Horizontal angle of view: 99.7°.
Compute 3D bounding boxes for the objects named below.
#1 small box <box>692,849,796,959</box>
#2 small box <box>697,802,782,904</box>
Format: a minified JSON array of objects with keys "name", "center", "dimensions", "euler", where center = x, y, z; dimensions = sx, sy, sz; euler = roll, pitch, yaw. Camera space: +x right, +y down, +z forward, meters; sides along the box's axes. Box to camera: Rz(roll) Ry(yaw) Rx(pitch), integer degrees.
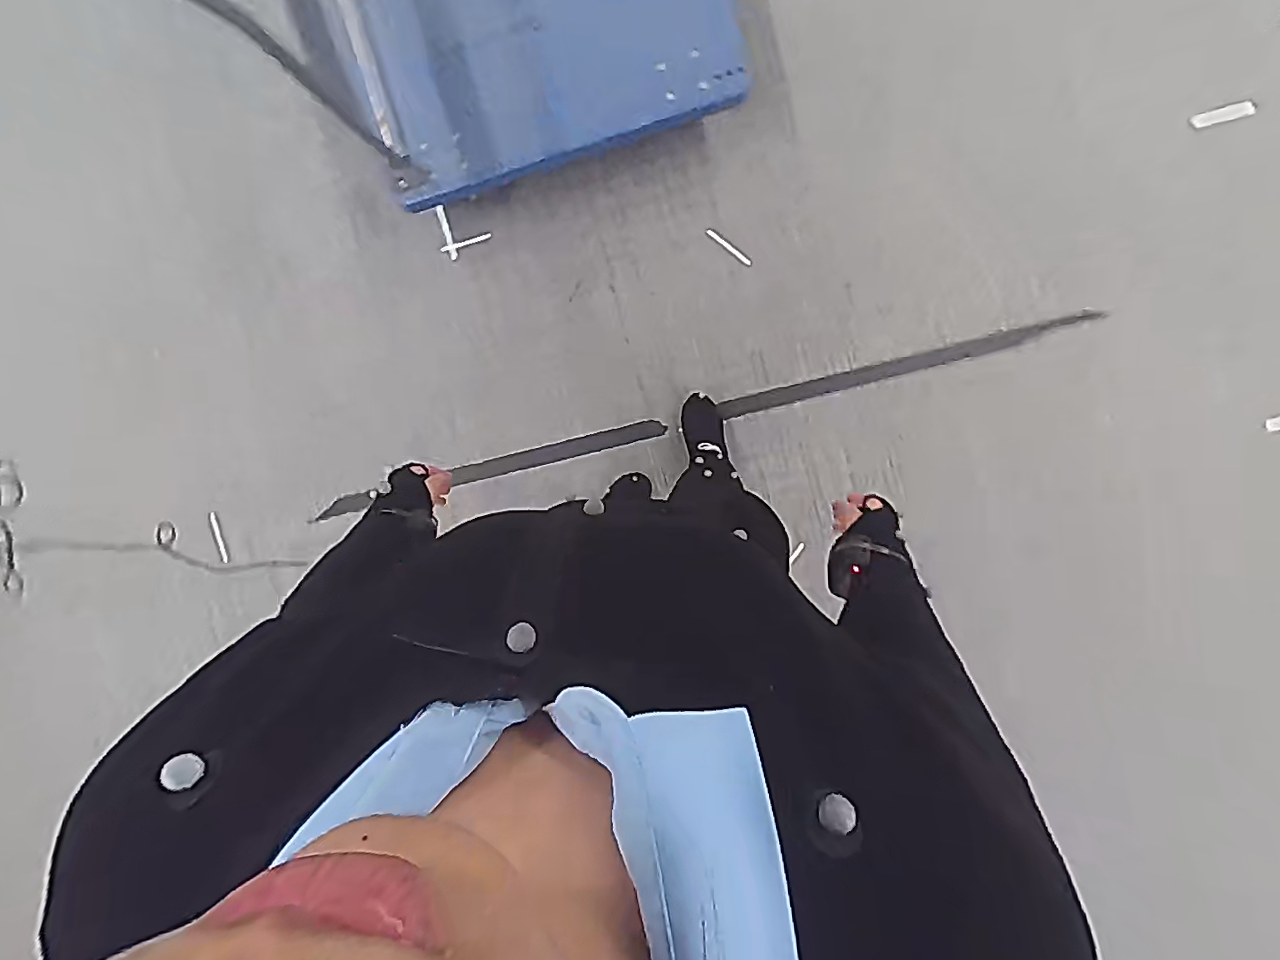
[{"name":"small box","center":[0.218,0.935,1.139],"dimensions":[0.168,0.176,0.179],"euler":[-22,93,4]},{"name":"small box","center":[0.236,0.918,1.301],"dimensions":[0.168,0.176,0.179],"euler":[-10,94,2]}]
